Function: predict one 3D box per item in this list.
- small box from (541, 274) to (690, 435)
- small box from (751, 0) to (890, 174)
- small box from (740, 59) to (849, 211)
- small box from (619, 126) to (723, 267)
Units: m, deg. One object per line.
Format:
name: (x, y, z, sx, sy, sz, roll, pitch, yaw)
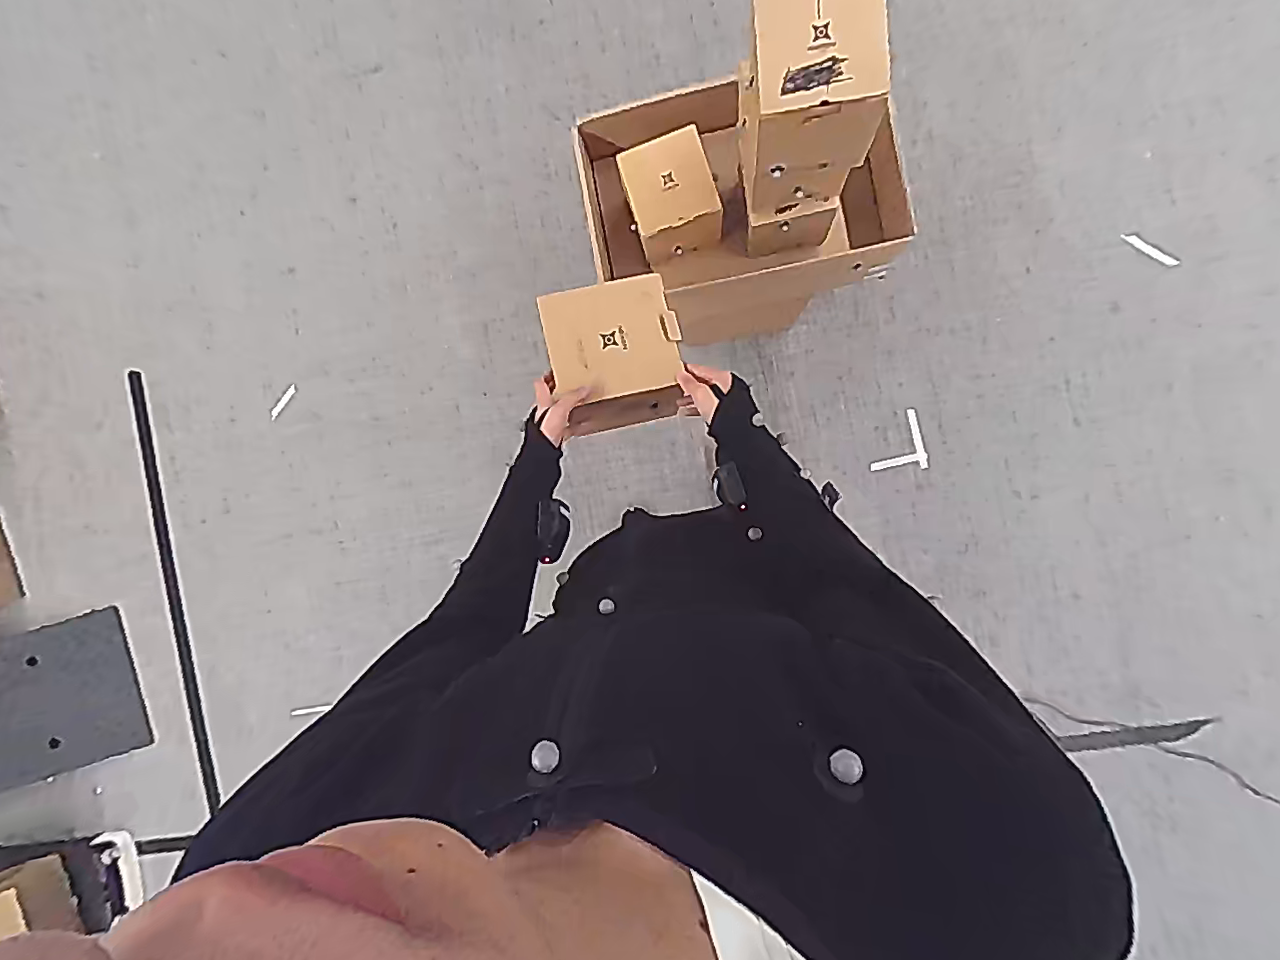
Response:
small box: (-0.038, -0.176, 0.803, 0.179, 0.176, 0.168, -13, 82, -4)
small box: (0.247, -0.568, 0.775, 0.168, 0.176, 0.179, -3, 90, 10)
small box: (0.267, -0.604, 0.938, 0.168, 0.176, 0.179, -8, 90, 10)
small box: (0.066, -0.580, 1.128, 0.168, 0.176, 0.179, -18, 89, 6)
